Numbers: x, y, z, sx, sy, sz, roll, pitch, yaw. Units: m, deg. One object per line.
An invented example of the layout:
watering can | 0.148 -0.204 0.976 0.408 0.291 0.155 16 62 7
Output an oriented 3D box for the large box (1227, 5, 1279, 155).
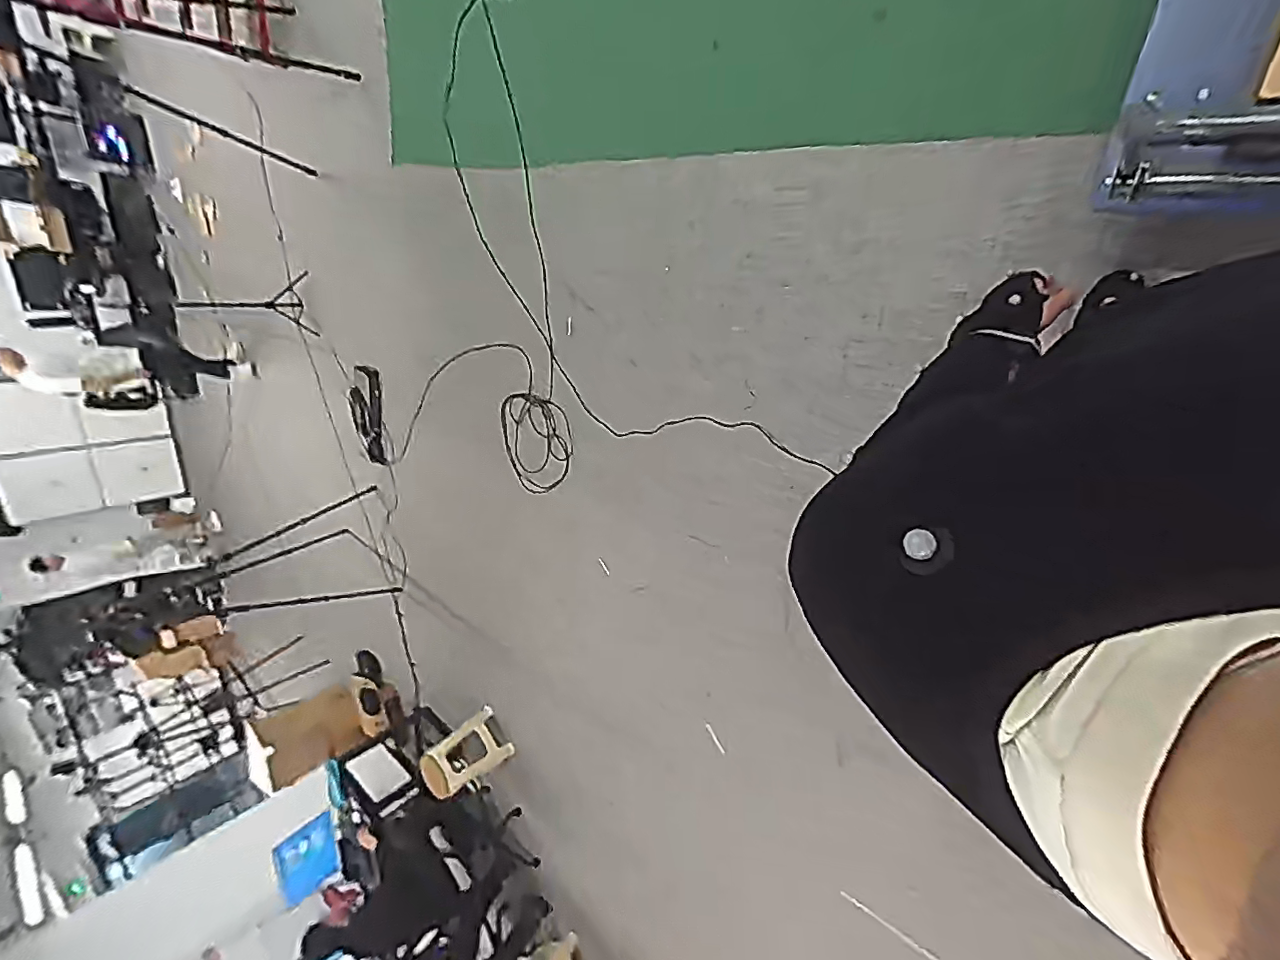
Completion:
large box | 1.055 -0.683 0.683 0.320 0.320 0.408 20 114 34
